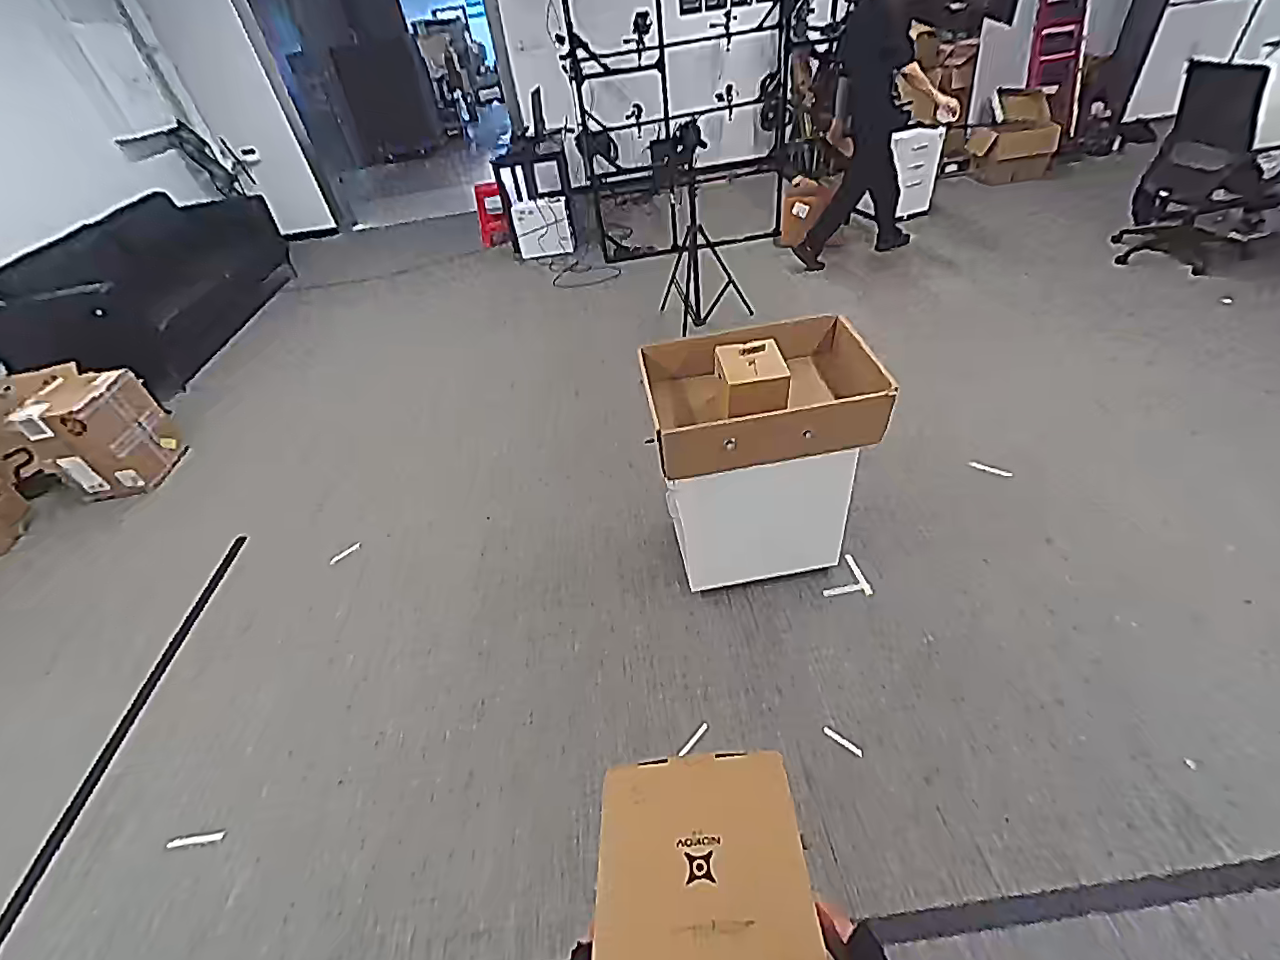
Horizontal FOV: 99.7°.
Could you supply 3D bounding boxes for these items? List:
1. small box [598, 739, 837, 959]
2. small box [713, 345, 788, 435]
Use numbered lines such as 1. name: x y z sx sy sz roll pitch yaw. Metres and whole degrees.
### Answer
1. small box: 0.065 0.360 0.469 0.168 0.176 0.179 -9 31 5
2. small box: 0.298 -0.250 1.503 0.168 0.176 0.179 -9 46 0
